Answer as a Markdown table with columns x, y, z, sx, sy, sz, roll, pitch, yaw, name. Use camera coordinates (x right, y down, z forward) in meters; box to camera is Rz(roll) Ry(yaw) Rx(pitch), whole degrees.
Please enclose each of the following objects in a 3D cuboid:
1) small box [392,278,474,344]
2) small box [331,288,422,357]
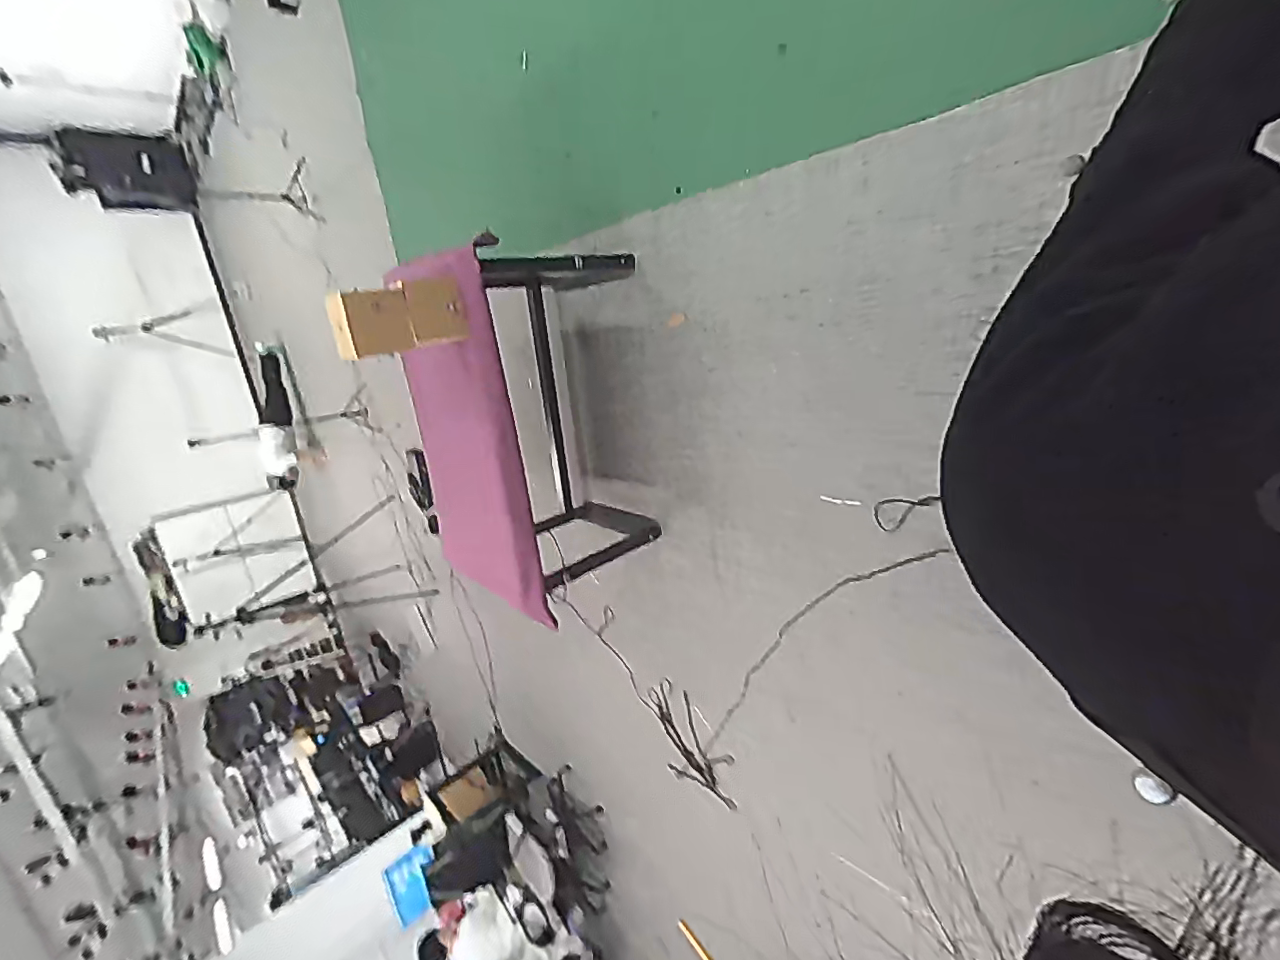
| x | y | z | sx | sy | sz | roll | pitch | yaw | name |
| --- | --- | --- | --- | --- | --- | --- | --- | --- | --- |
| -0.631 | -0.512 | 1.646 | 0.168 | 0.176 | 0.179 | 7 | 112 | 48 | small box |
| -0.753 | -0.456 | 1.553 | 0.168 | 0.176 | 0.179 | 14 | 118 | 45 | small box |
